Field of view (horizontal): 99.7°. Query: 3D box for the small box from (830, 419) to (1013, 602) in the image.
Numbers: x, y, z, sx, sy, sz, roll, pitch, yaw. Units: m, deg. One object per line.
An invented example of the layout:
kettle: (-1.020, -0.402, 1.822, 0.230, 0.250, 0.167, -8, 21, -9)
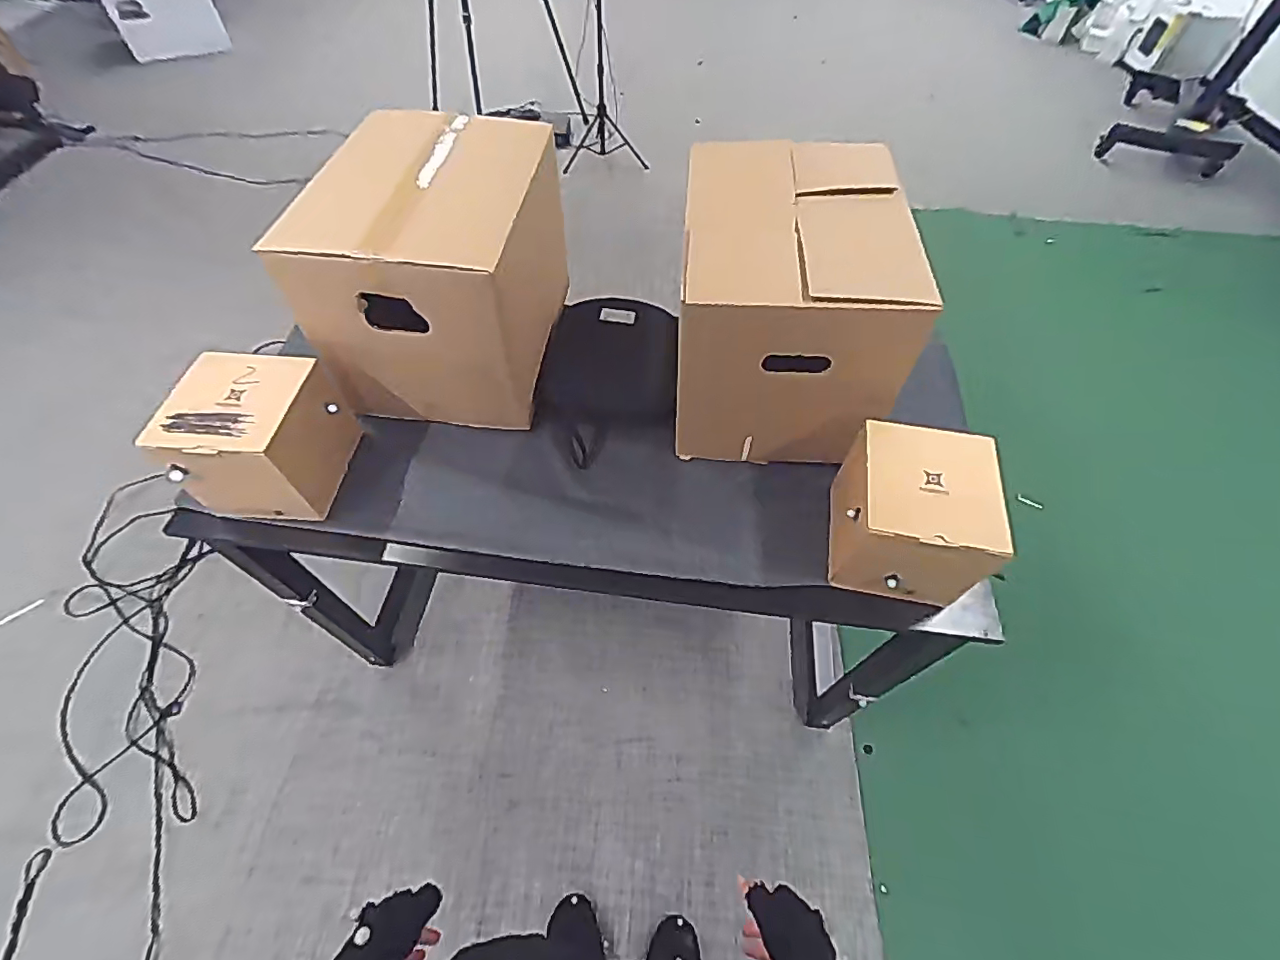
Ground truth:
small box: (0.369, 0.045, 0.743, 0.168, 0.176, 0.179, 10, 59, 7)
